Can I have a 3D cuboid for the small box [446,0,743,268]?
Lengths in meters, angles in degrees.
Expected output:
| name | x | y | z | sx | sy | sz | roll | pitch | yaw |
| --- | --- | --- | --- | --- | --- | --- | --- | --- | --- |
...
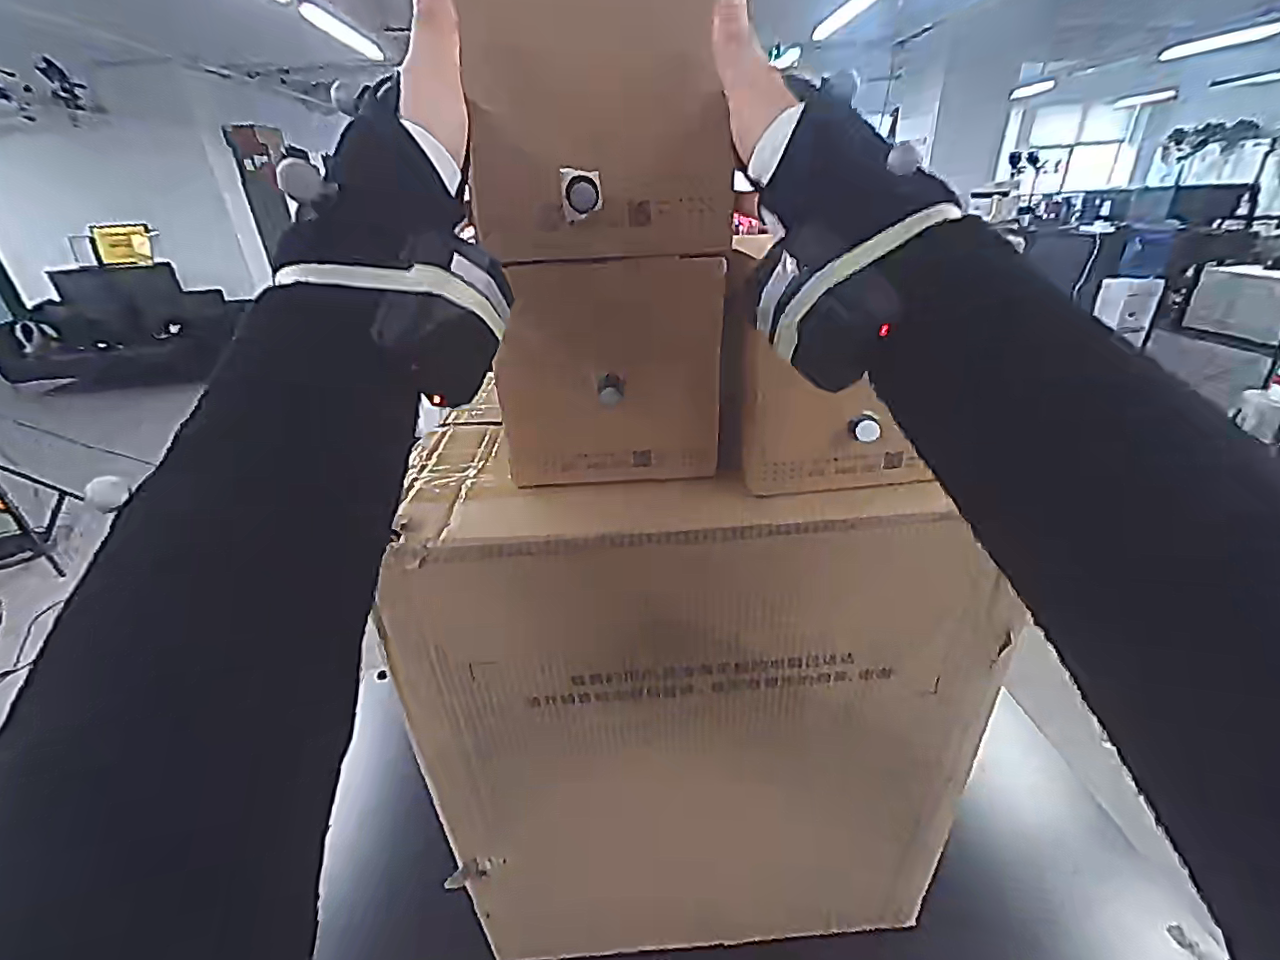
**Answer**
| name | x | y | z | sx | sy | sz | roll | pitch | yaw |
| --- | --- | --- | --- | --- | --- | --- | --- | --- | --- |
| small box | -0.029 | -0.253 | 0.389 | 0.168 | 0.176 | 0.179 | -5 | 31 | -2 |
